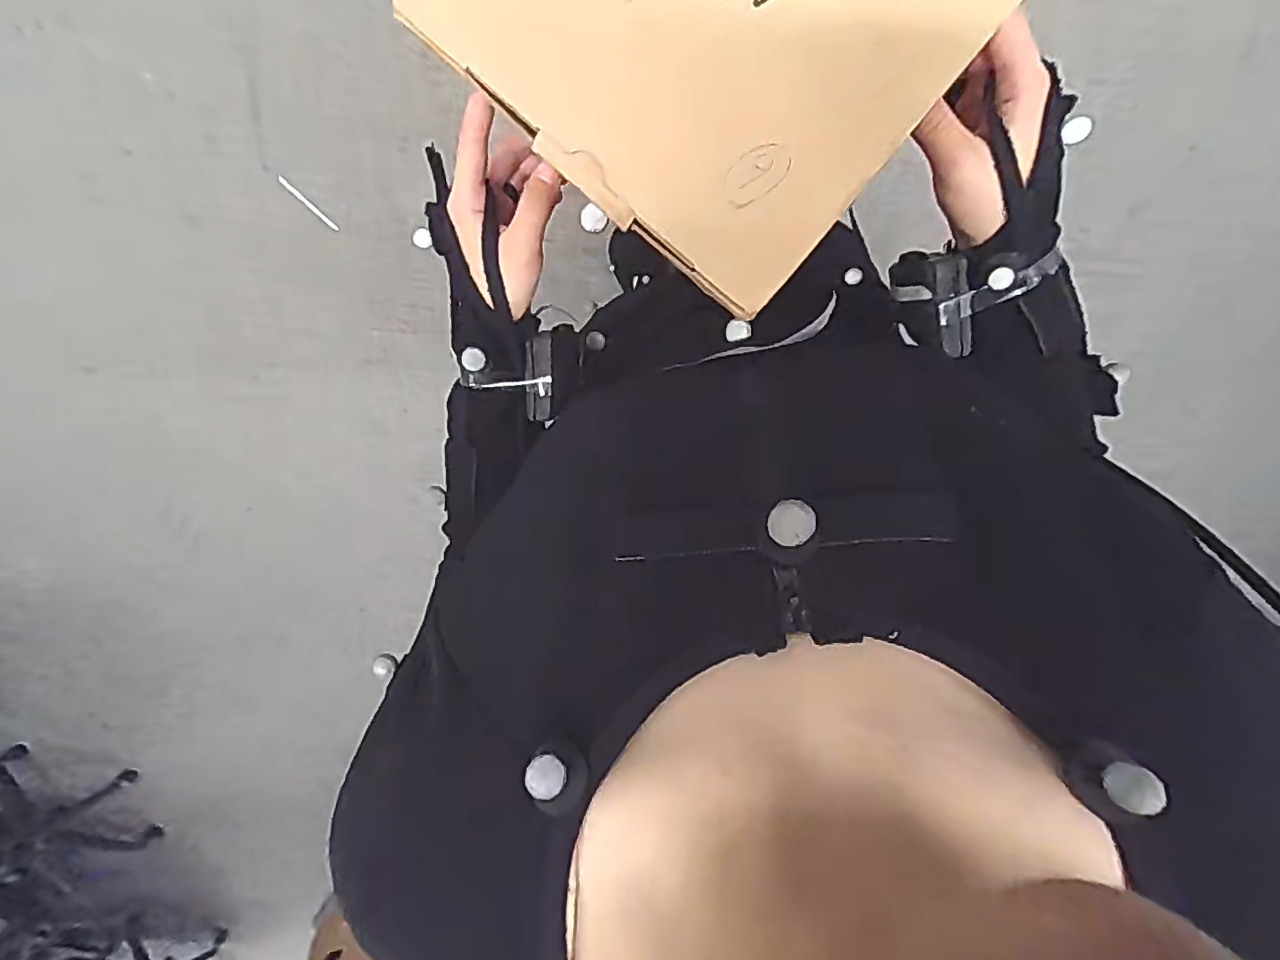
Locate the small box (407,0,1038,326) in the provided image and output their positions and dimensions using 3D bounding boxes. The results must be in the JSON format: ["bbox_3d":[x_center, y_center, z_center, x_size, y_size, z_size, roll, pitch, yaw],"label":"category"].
[{"bbox_3d":[0.039,-0.199,0.248,0.168,0.176,0.179,38,109,-12],"label":"small box"}]
